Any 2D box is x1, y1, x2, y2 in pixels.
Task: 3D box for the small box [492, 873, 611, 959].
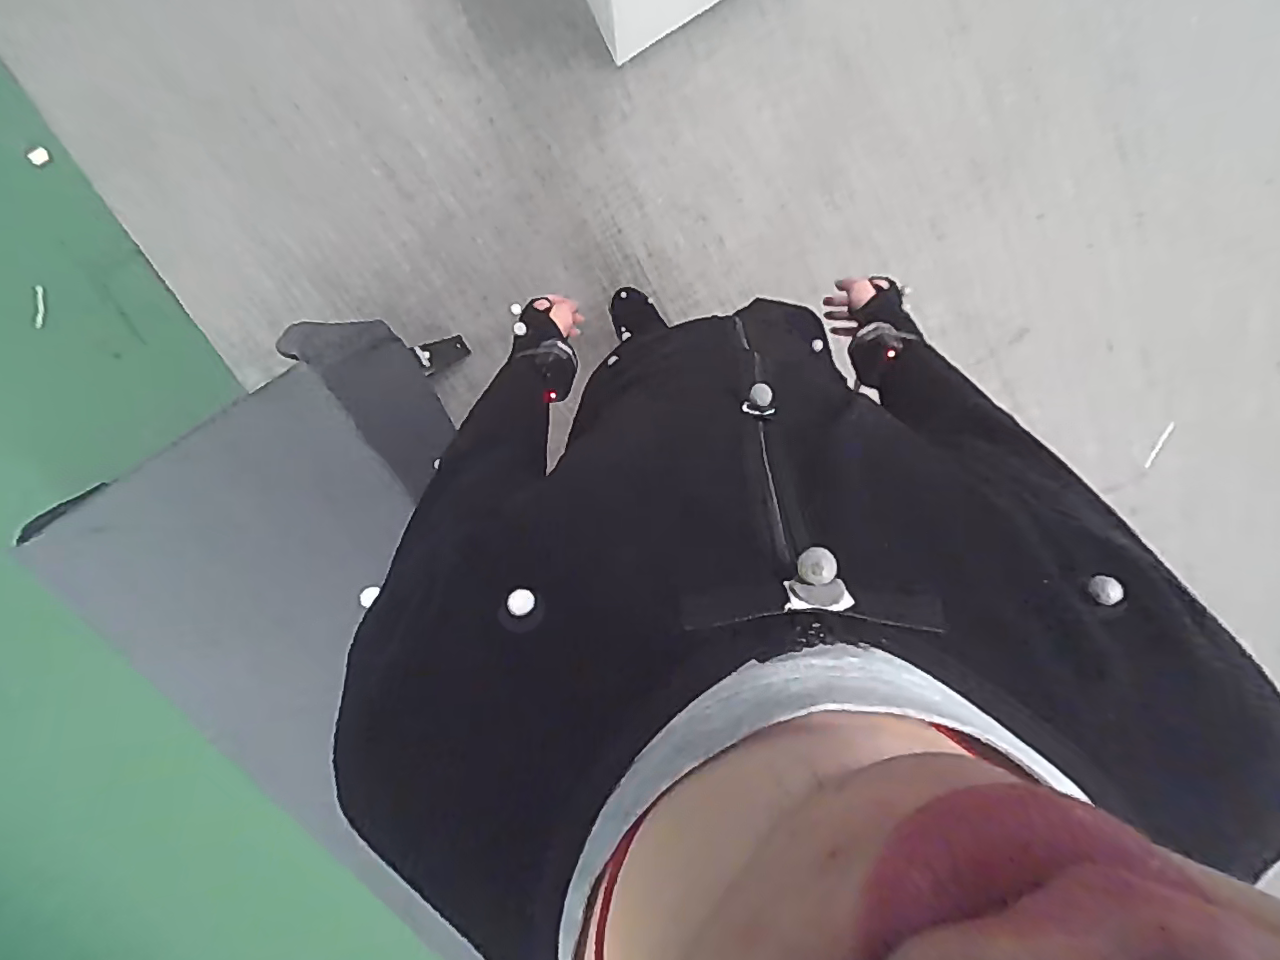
[{"bbox_3d":[-0.167,0.889,1.024,0.168,0.176,0.179,-27,106,8],"label":"small box"}]
